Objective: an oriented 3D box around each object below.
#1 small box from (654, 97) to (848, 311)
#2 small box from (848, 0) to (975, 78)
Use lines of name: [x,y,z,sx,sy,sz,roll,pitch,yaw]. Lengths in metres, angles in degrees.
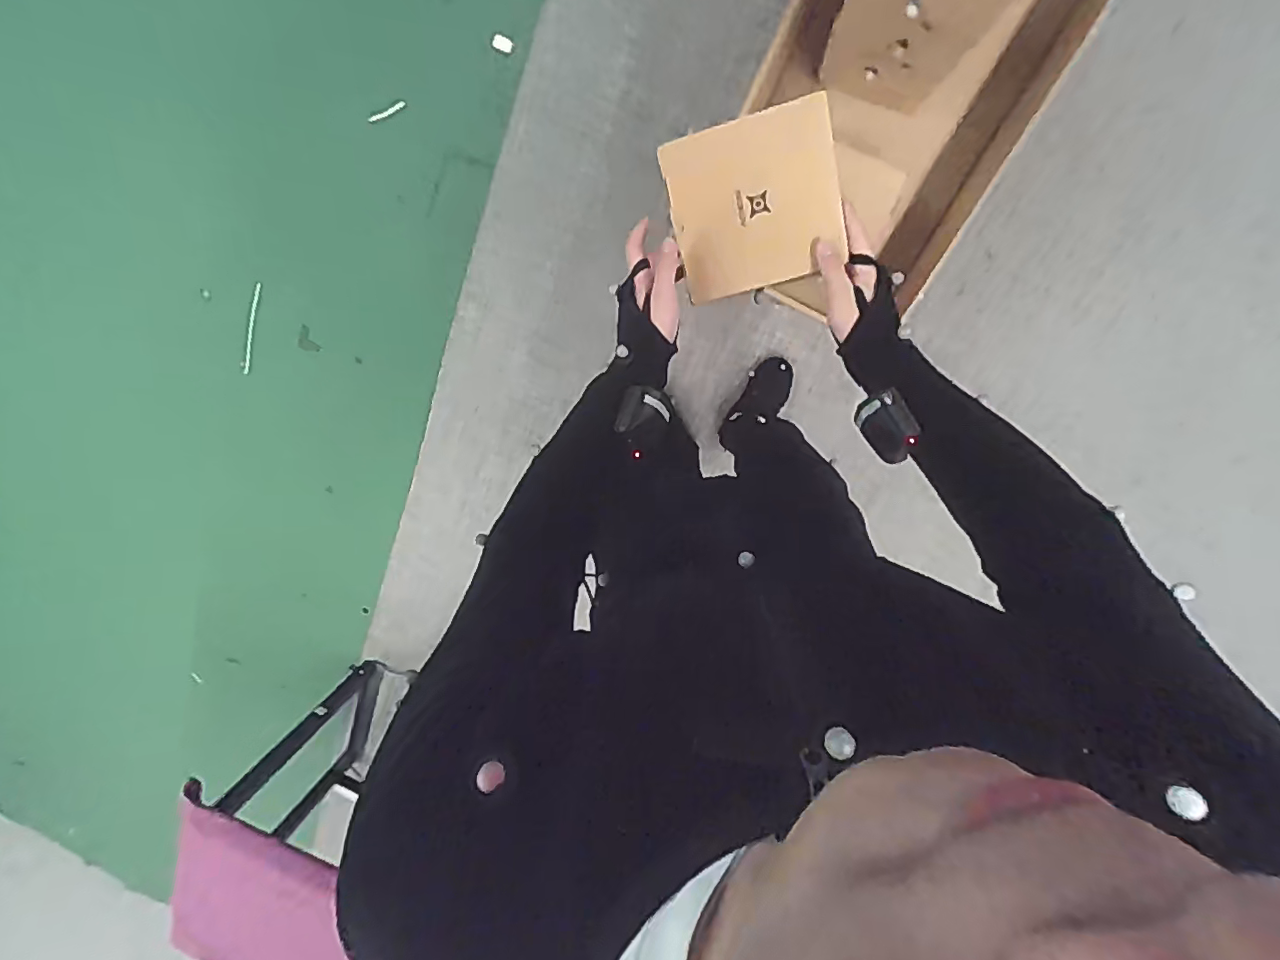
small box: [0.127,-0.307,0.638,0.179,0.176,0.168,-13,106,13]
small box: [0.373,-0.636,0.661,0.168,0.176,0.179,23,113,3]
